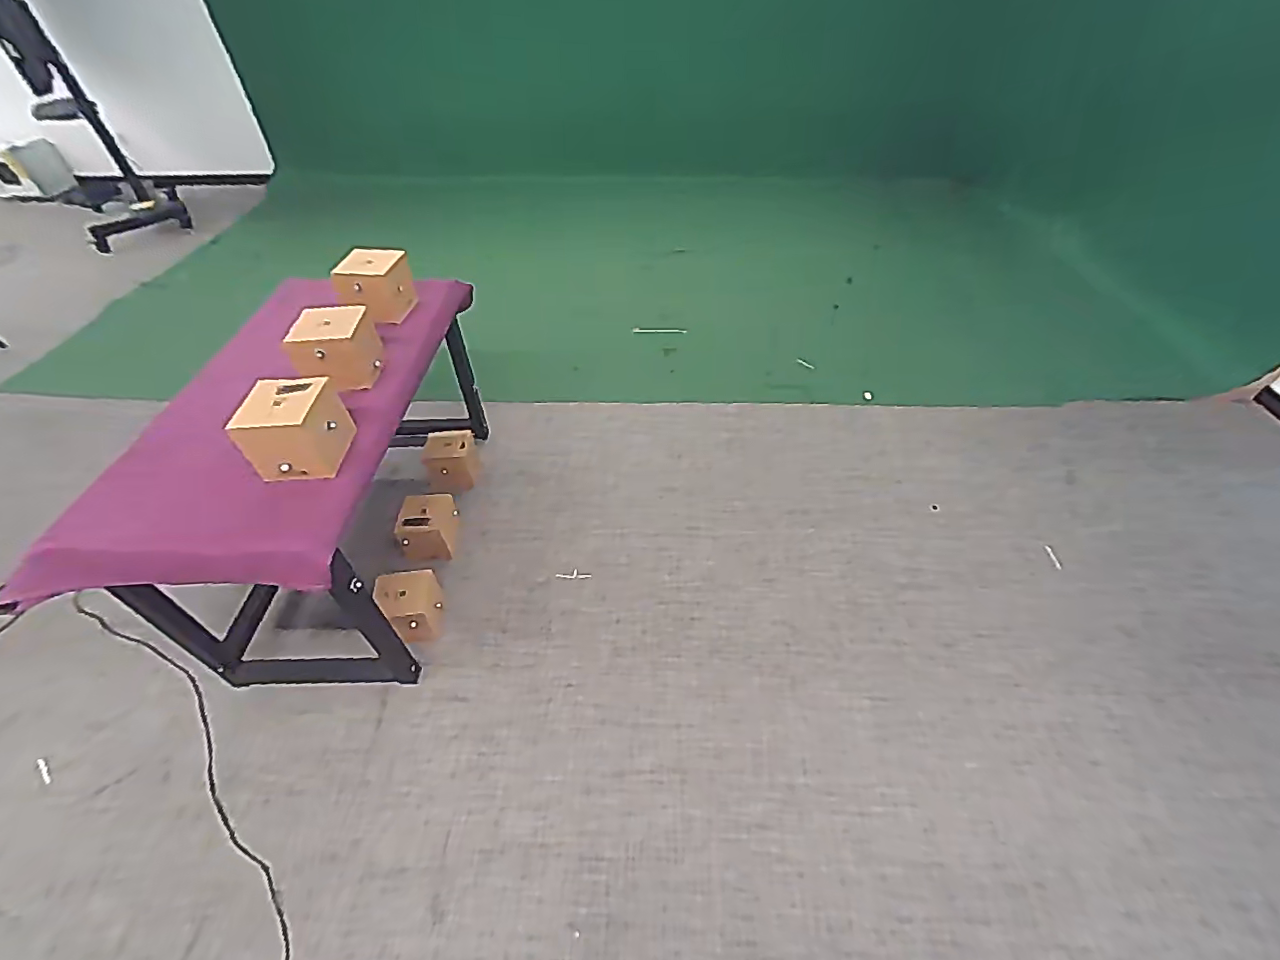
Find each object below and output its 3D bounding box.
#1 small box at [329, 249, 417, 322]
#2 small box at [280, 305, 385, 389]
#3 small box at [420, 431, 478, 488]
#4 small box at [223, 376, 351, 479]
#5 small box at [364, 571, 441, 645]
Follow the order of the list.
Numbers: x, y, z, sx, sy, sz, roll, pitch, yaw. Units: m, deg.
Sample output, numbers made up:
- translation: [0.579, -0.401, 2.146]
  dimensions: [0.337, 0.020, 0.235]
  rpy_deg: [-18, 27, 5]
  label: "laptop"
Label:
- translation: [-0.850, -0.625, 1.746]
  dimensions: [0.179, 0.176, 0.168]
  rpy_deg: [4, 47, 6]
  label: "small box"
- translation: [-0.837, -0.362, 1.492]
  dimensions: [0.179, 0.176, 0.168]
  rpy_deg: [-3, 47, -2]
  label: "small box"
- translation: [-0.783, -0.082, 2.228]
  dimensions: [0.179, 0.176, 0.168]
  rpy_deg: [-5, 46, -4]
  label: "small box"
- translation: [-0.802, -0.121, 1.256]
  dimensions: [0.168, 0.176, 0.179]
  rpy_deg: [-3, 47, -1]
  label: "small box"
- translation: [-0.757, 0.416, 1.748]
  dimensions: [0.179, 0.176, 0.168]
  rpy_deg: [-6, 46, -5]
  label: "small box"
